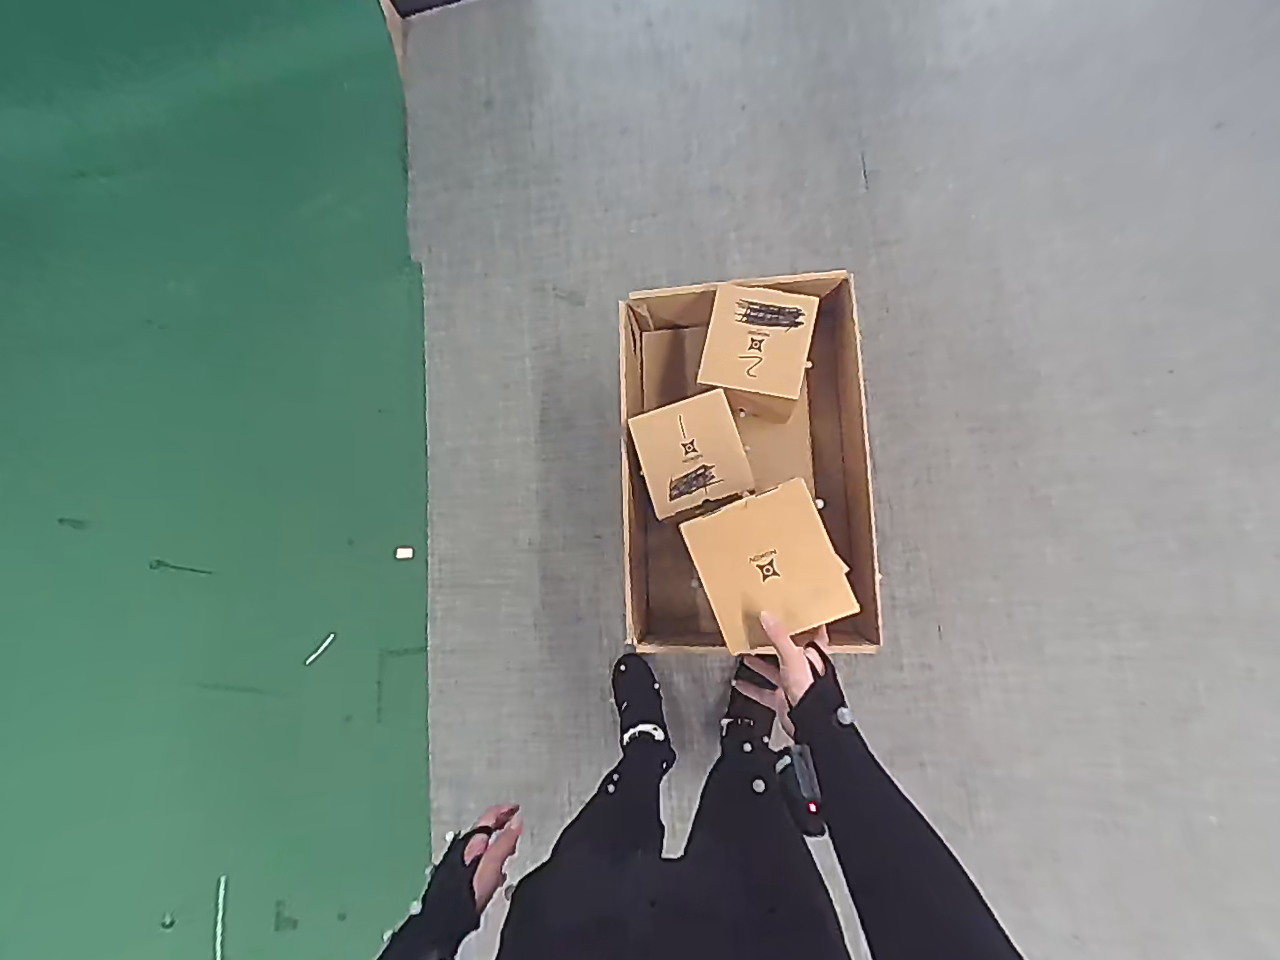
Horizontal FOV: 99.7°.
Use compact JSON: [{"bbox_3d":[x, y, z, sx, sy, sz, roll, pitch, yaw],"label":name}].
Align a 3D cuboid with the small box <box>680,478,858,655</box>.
[{"bbox_3d":[0.169,0.111,0.735,0.168,0.176,0.179,-23,81,8],"label":"small box"}]
